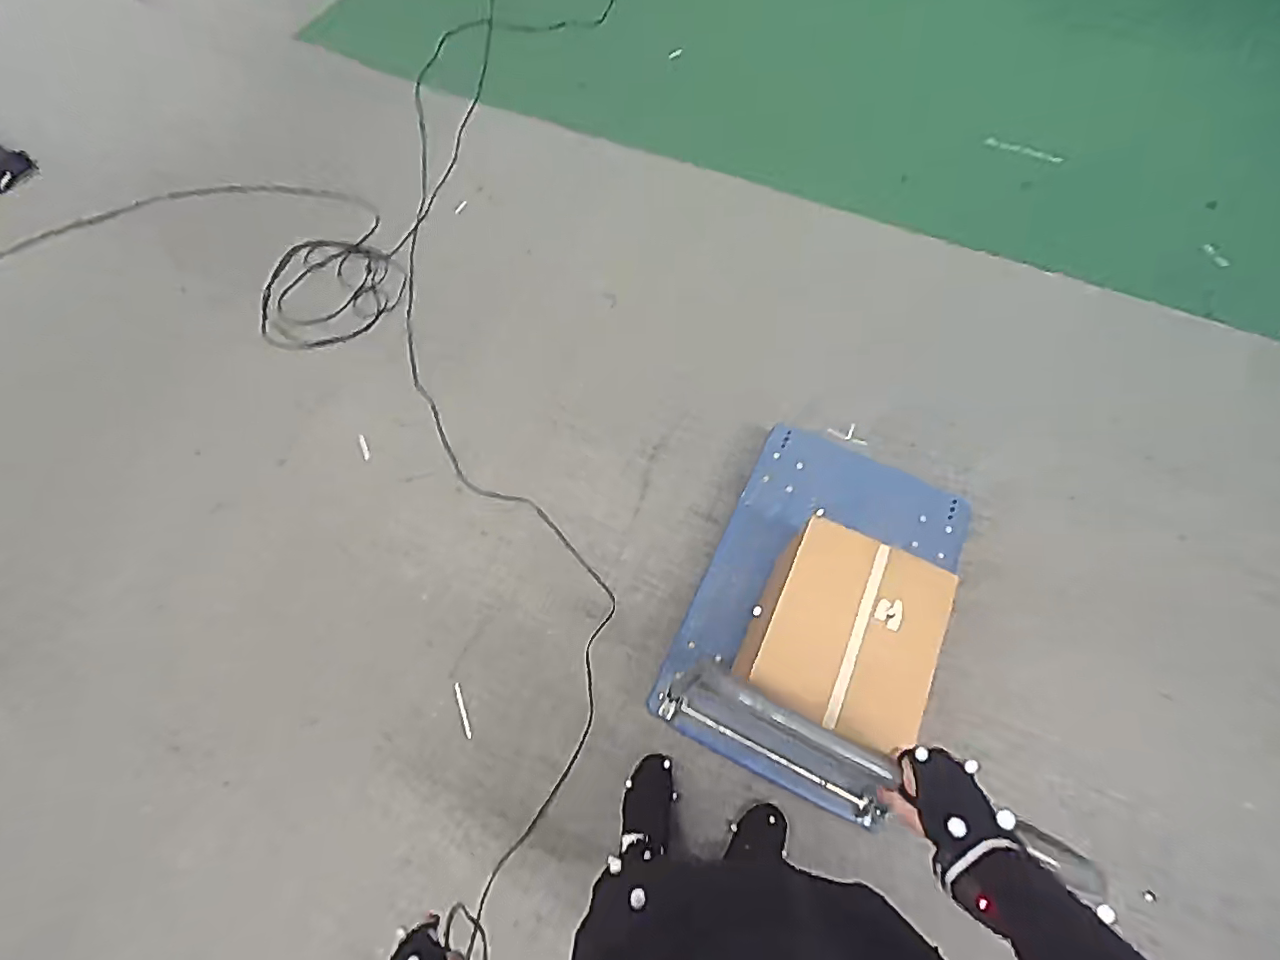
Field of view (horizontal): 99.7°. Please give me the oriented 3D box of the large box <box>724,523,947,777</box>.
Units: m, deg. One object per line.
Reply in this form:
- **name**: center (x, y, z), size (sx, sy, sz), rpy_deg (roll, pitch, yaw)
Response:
- **large box**: center (0.411, 0.374, 1.193), size (0.320, 0.320, 0.408), rpy_deg (24, 68, 10)
